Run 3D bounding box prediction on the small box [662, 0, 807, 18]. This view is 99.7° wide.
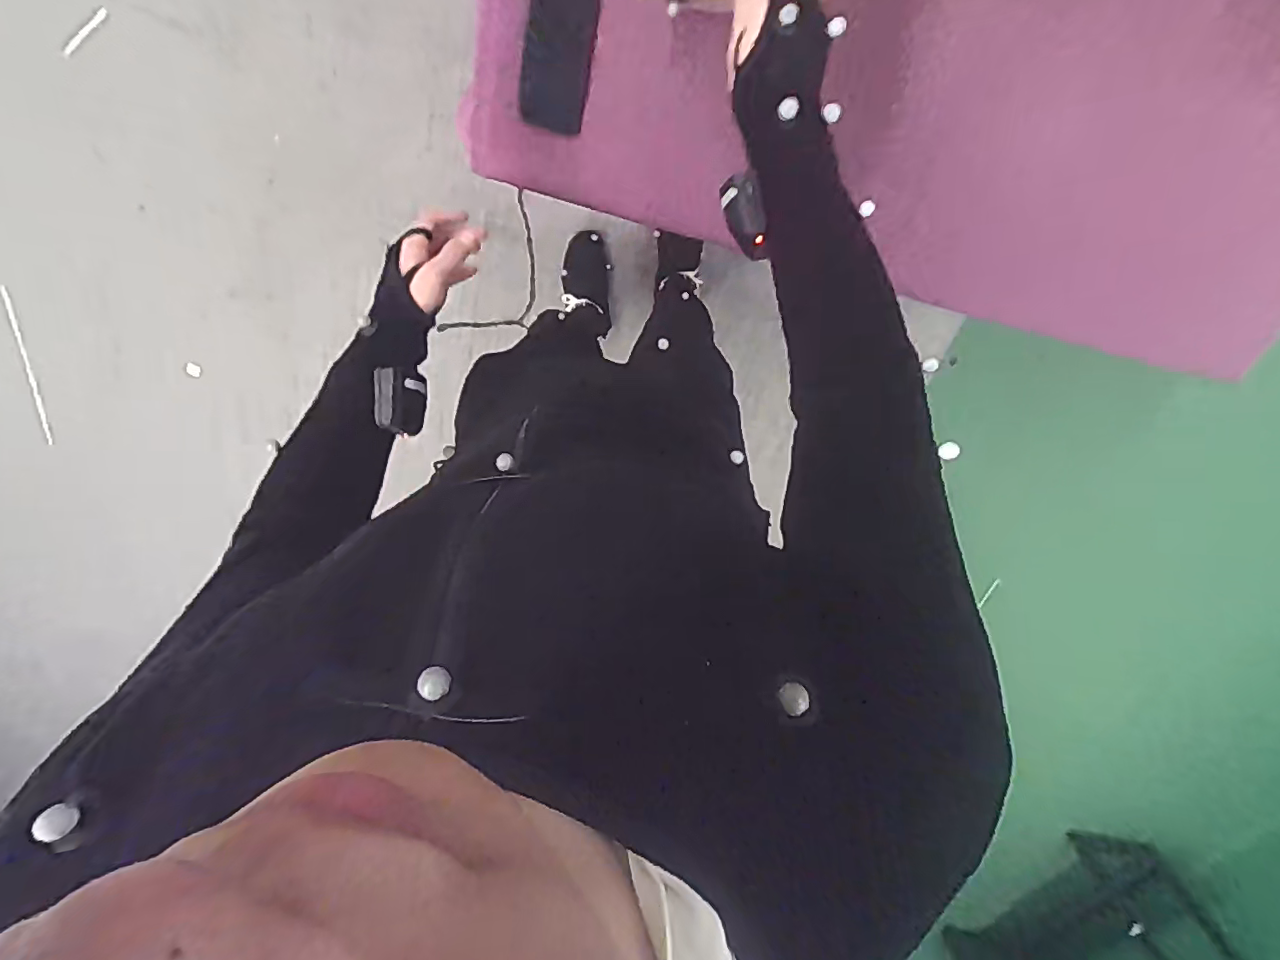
[{"bbox_3d":[0.091,-0.516,0.446,0.168,0.176,0.179,-1,119,-10],"label":"small box"}]
